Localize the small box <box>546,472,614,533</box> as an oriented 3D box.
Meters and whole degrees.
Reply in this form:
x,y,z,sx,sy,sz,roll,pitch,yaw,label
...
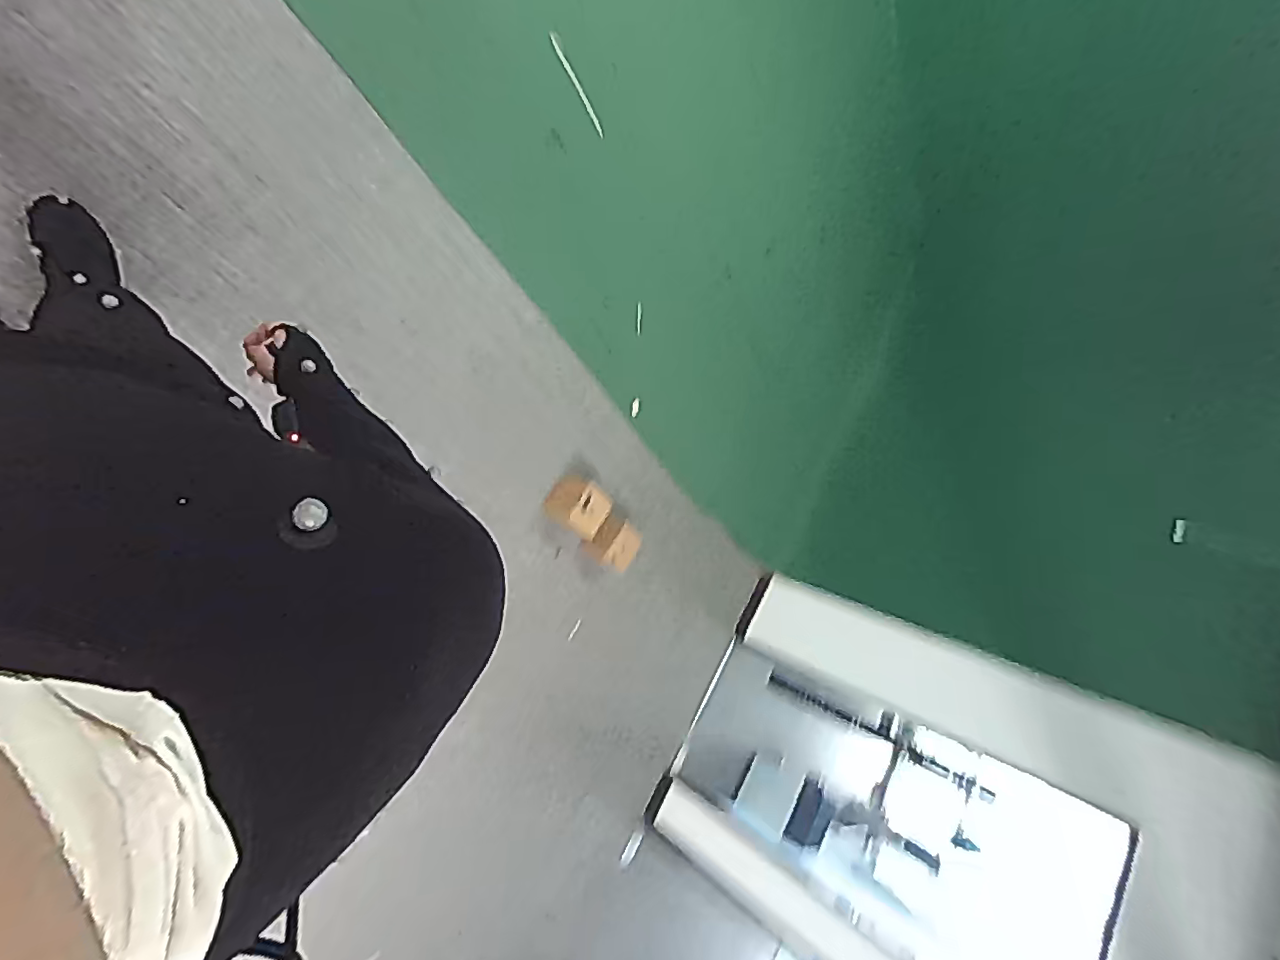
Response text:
x,y,z,sx,sy,sz,roll,pitch,yaw,label
-0.242,0.084,2.155,0.168,0.176,0.179,-57,138,-16,small box

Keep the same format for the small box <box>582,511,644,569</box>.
x,y,z,sx,sy,sz,roll,pitch,yaw,label
-0.120,0.253,2.356,0.179,0.176,0.168,-57,138,-18,small box
